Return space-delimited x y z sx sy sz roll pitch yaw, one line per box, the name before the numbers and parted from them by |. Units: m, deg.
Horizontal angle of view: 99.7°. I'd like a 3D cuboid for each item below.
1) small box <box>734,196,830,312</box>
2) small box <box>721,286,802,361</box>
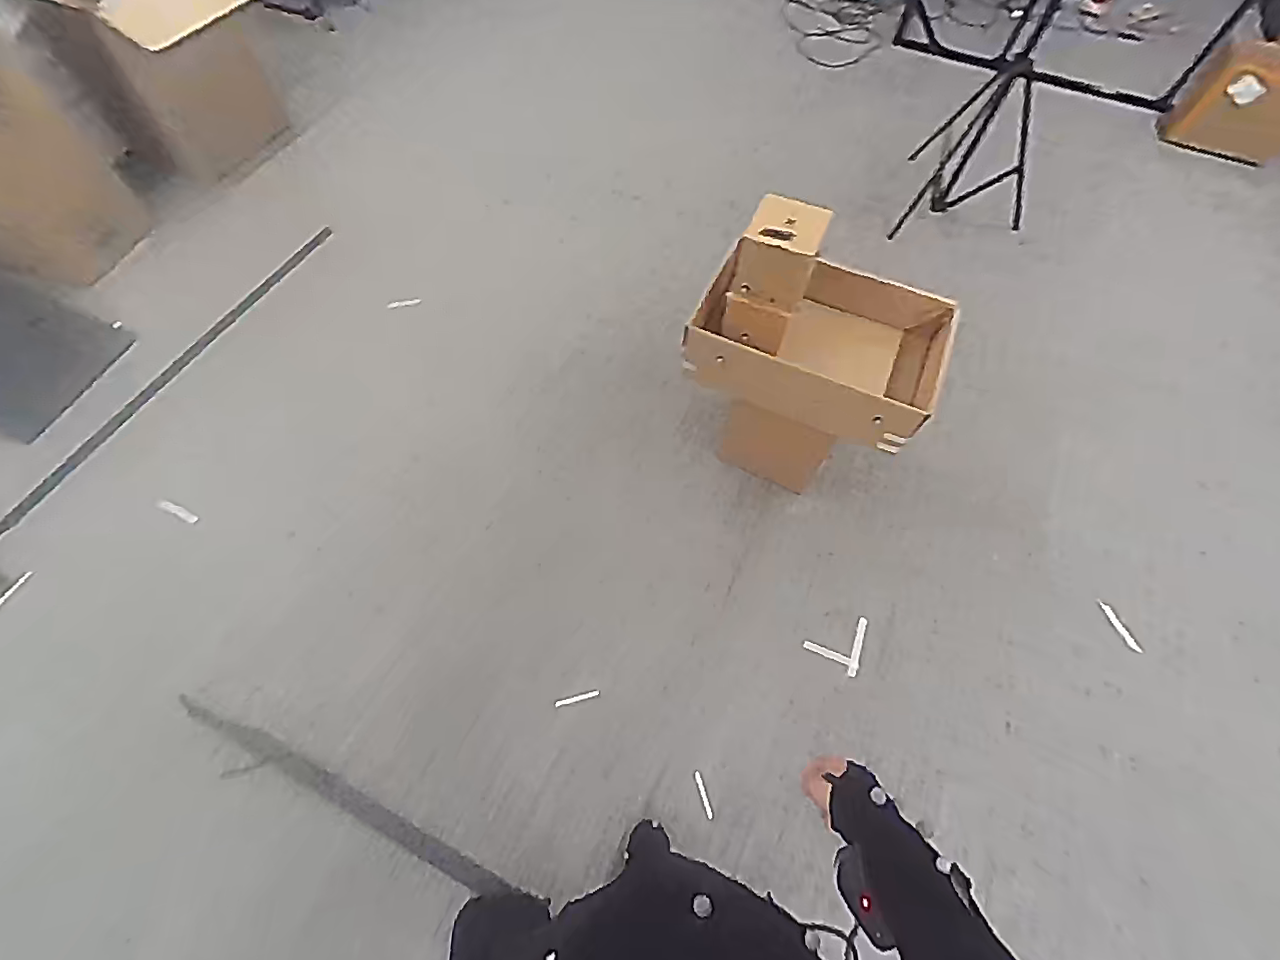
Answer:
small box | 0.334 -0.539 1.303 0.168 0.176 0.179 22 63 11
small box | 0.324 -0.453 1.443 0.168 0.176 0.179 21 64 11
